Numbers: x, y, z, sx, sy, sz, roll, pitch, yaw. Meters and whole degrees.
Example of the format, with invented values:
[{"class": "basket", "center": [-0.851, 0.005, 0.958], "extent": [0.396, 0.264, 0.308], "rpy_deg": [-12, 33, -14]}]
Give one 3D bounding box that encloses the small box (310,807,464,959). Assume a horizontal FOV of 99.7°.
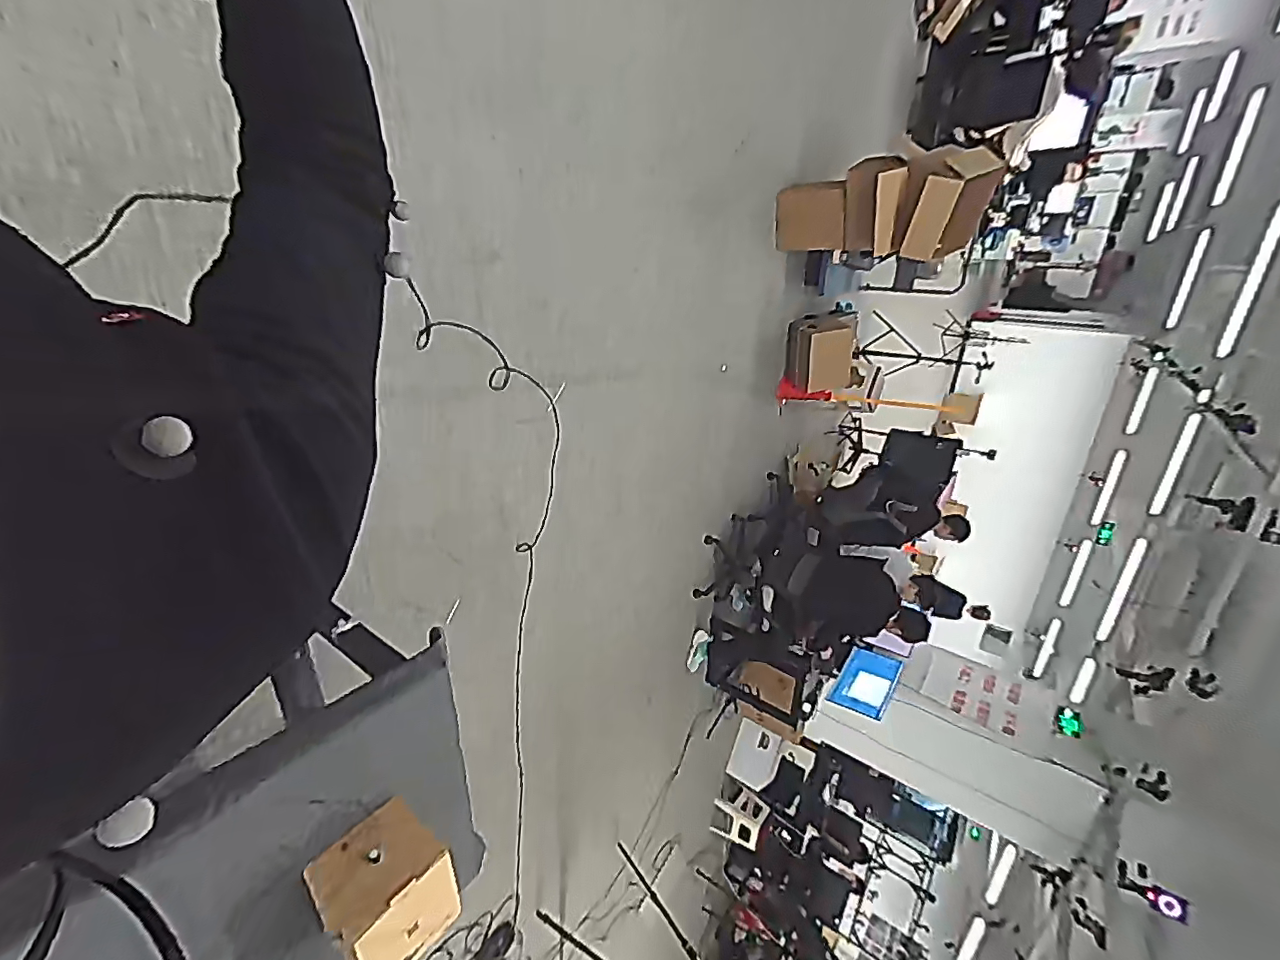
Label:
[{"class": "small box", "center": [-0.430, 0.703, 0.922], "extent": [0.168, 0.176, 0.179], "rpy_deg": [-27, 125, -46]}]
